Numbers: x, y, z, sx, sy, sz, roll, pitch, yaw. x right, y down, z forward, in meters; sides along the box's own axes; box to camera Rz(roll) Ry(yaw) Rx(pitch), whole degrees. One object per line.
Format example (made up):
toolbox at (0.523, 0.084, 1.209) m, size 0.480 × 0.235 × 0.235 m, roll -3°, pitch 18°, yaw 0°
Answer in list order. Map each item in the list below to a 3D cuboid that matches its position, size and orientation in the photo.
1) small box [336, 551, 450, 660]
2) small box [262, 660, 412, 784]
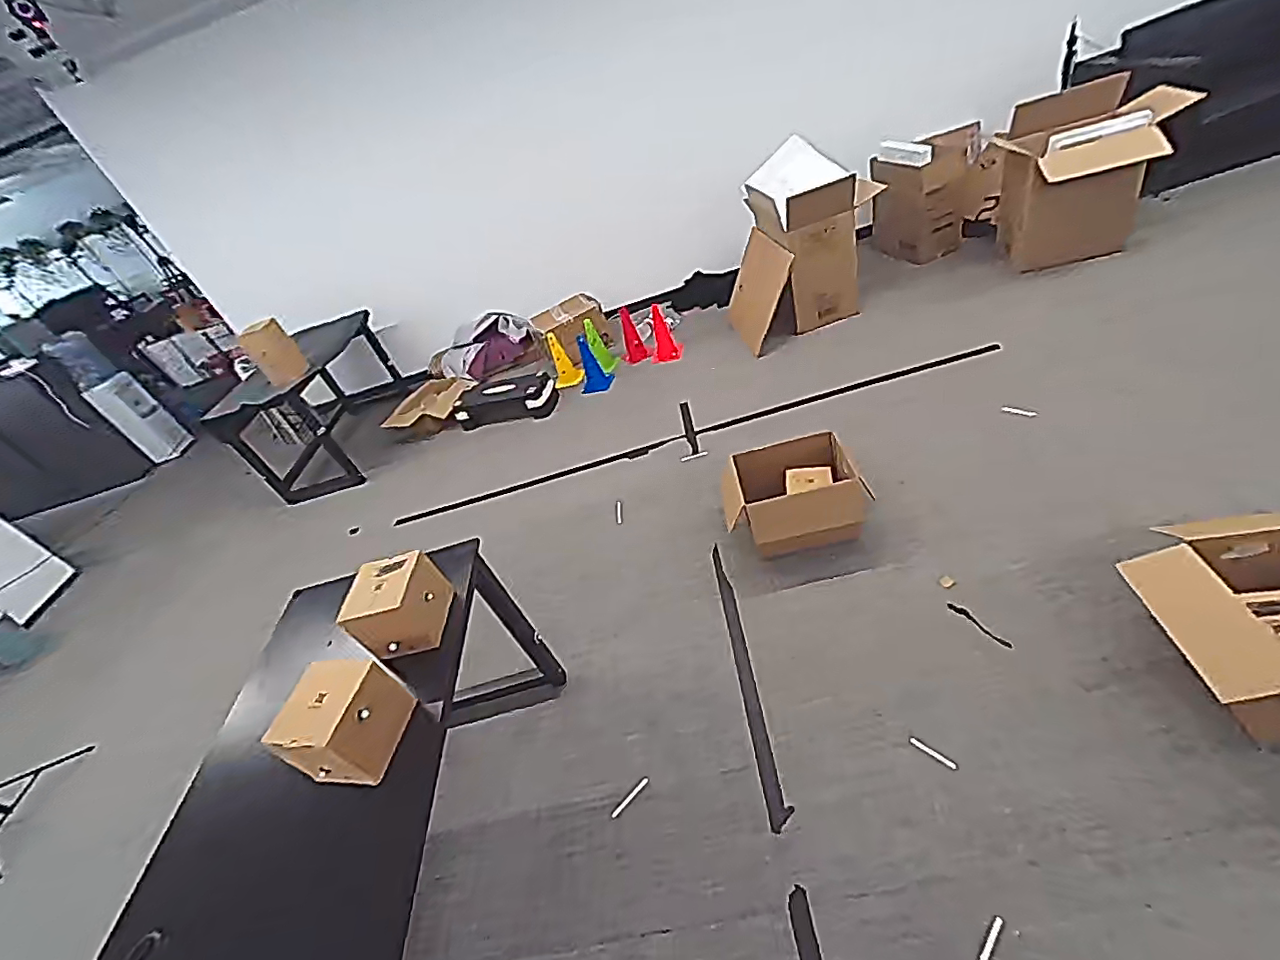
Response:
small box at (-0.584, 0.304, 1.307) m, size 0.168 × 0.176 × 0.179 m, roll -16°, pitch 39°, yaw 9°
small box at (-0.598, 0.489, 1.097) m, size 0.168 × 0.176 × 0.179 m, roll -8°, pitch 40°, yaw 18°
